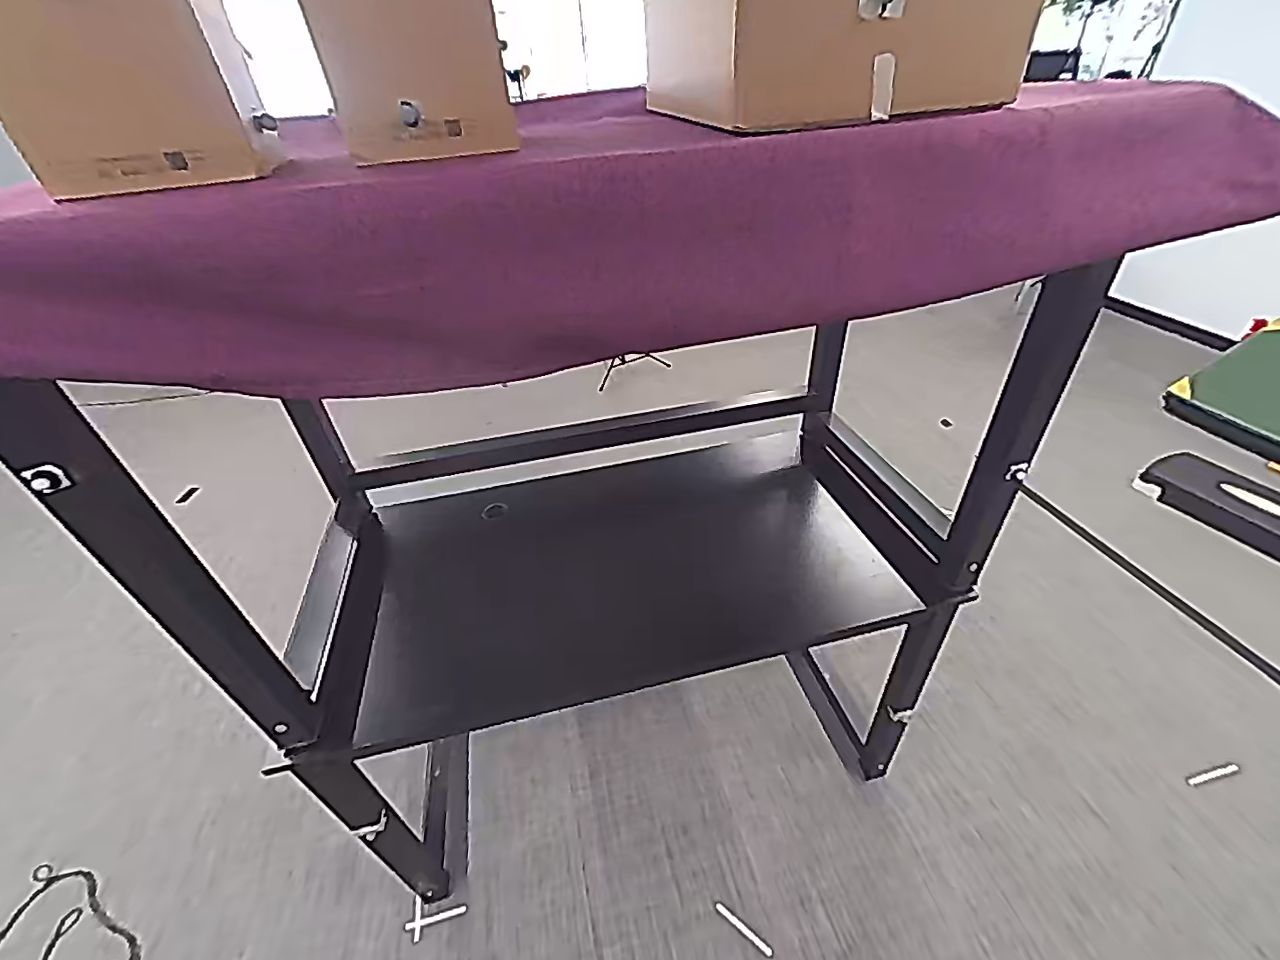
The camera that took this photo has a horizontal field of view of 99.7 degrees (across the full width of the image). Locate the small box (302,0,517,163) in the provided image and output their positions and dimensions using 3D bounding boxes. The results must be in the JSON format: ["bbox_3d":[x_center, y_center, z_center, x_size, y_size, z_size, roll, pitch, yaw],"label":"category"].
[{"bbox_3d":[-0.229,-0.436,0.559,0.168,0.176,0.179,-12,38,-9],"label":"small box"}]

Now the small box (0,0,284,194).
[{"bbox_3d":[-0.456,-0.368,0.493,0.168,0.176,0.179,-17,39,-15],"label":"small box"}]

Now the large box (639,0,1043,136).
[{"bbox_3d":[0.185,-0.586,0.598,0.320,0.320,0.408,-10,37,-8],"label":"large box"}]
